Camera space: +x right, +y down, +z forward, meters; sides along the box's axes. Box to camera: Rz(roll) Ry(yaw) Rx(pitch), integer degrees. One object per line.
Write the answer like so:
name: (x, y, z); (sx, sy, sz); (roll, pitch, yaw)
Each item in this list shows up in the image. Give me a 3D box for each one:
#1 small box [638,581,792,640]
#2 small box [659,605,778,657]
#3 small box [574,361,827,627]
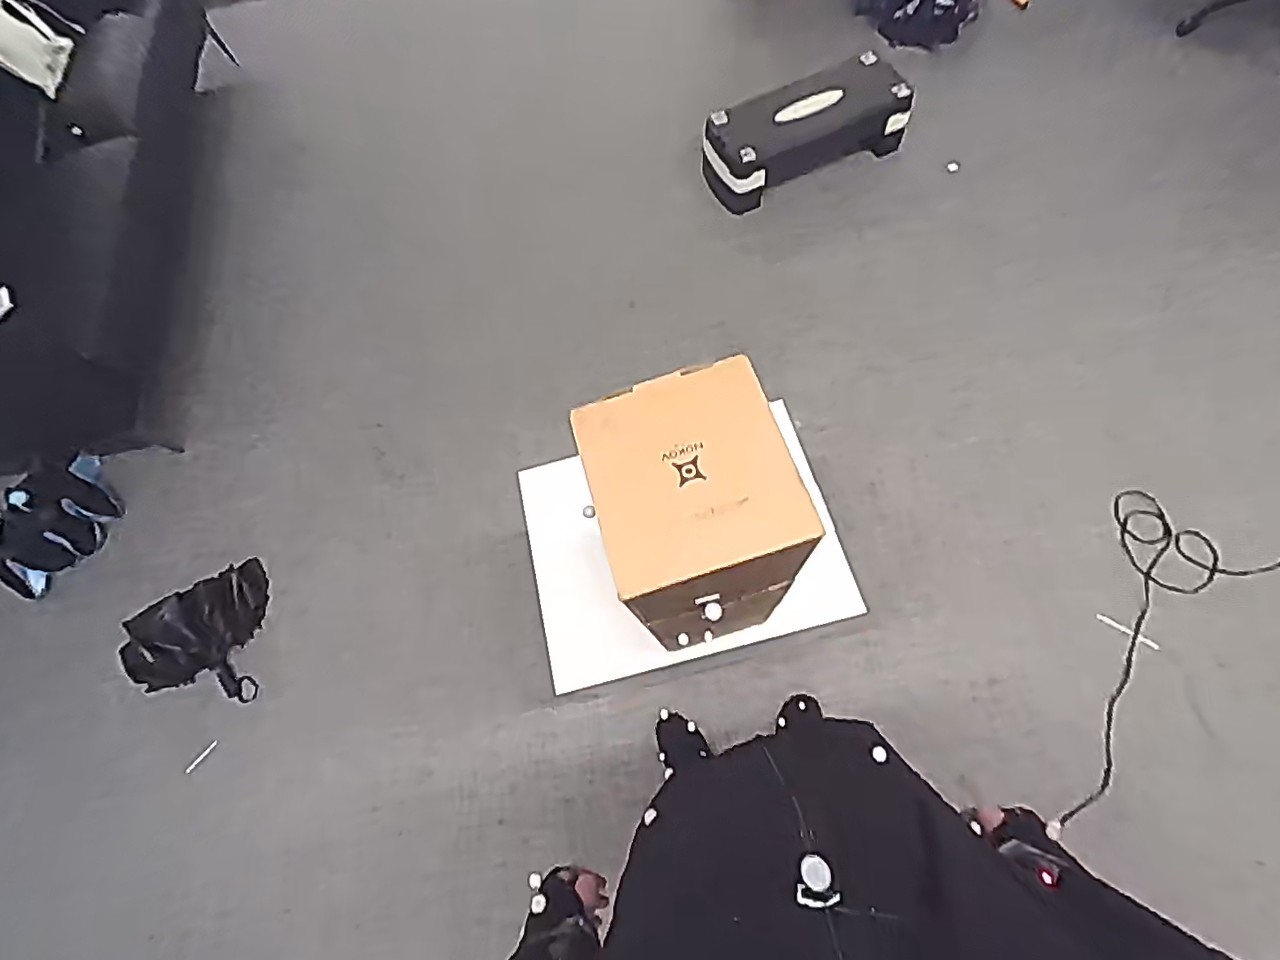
small box: (0.070, 0.087, 0.662); (0.168, 0.176, 0.179); (-17, 65, 0)
small box: (0.090, 0.152, 0.814); (0.168, 0.176, 0.179); (-19, 66, 0)
small box: (0.050, 0.023, 0.514); (0.168, 0.176, 0.179); (-19, 66, 0)
